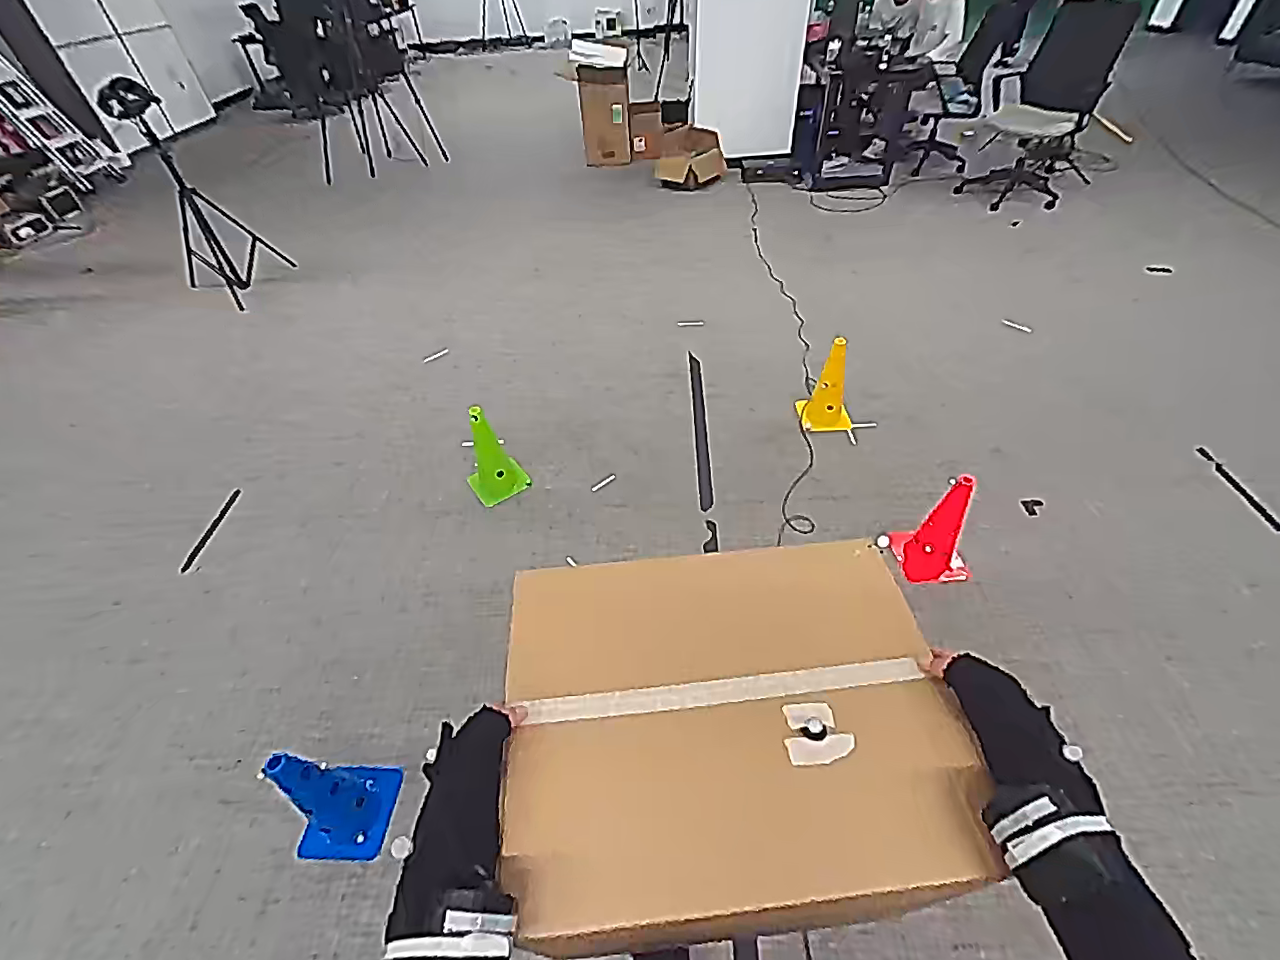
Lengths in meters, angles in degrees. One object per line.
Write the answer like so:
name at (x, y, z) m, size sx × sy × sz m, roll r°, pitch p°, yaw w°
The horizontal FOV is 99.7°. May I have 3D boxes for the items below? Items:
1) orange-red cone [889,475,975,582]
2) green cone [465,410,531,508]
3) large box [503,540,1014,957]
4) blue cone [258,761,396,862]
orange-red cone at (0.920, 0.123, 1.628) m, size 0.198 × 0.360 × 0.199 m, roll -3°, pitch 44°, yaw 0°
green cone at (-0.560, -0.108, 1.976) m, size 0.202 × 0.368 × 0.200 m, roll -31°, pitch 50°, yaw -22°
large box at (0.080, 0.299, 0.612) m, size 0.408 × 0.320 × 0.320 m, roll -5°, pitch 47°, yaw -4°
blue cone at (-0.718, 0.707, 1.207) m, size 0.192 × 0.380 × 0.193 m, roll -1°, pitch 45°, yaw 6°
